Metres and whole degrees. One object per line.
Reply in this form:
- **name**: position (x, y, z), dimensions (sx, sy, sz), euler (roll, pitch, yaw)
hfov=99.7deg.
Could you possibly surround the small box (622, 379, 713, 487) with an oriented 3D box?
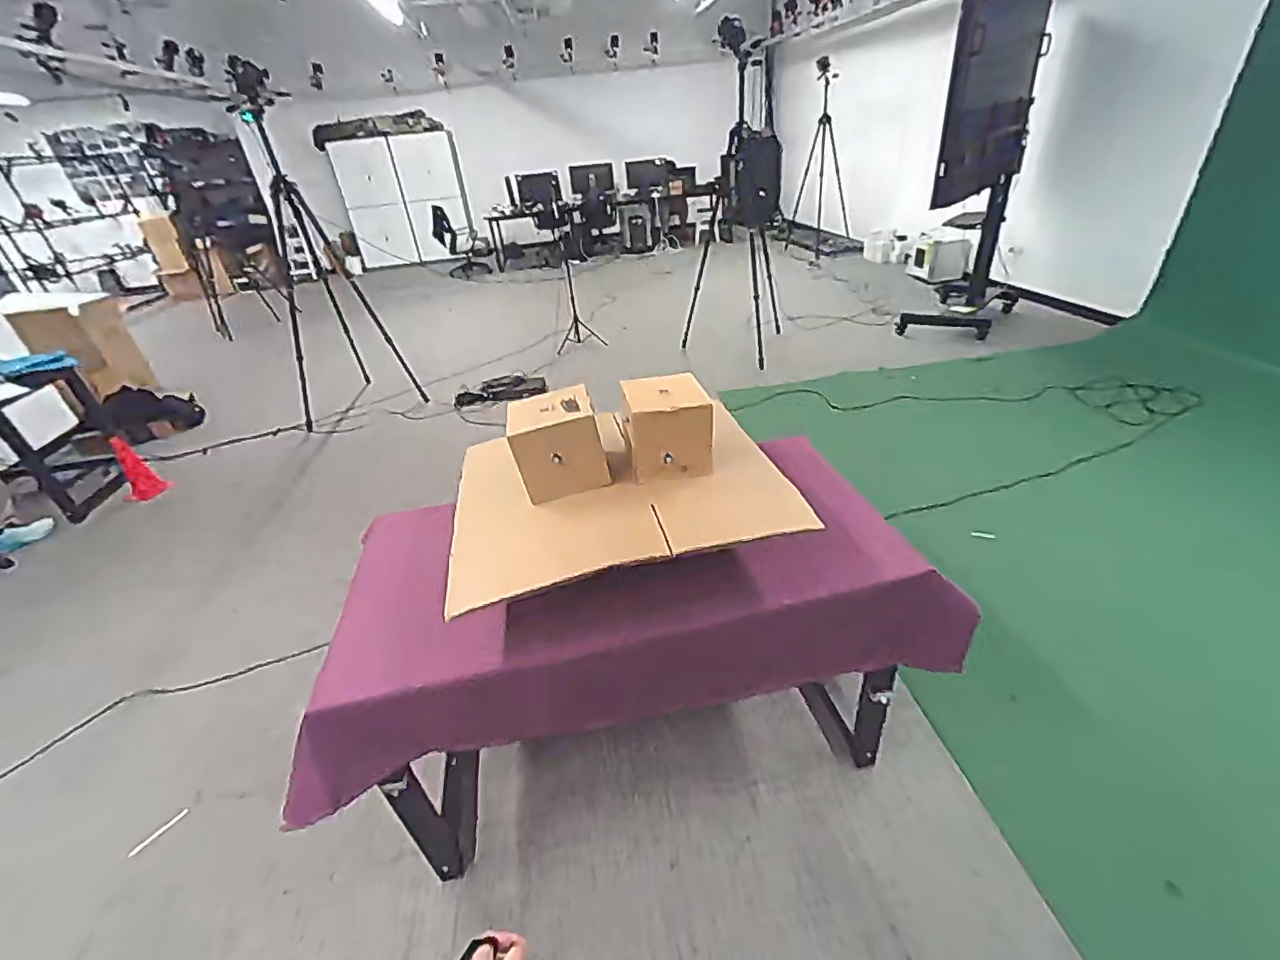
- **small box**: position (0.055, -0.105, 1.178), dimensions (0.168, 0.176, 0.179), euler (-8, 33, -7)
